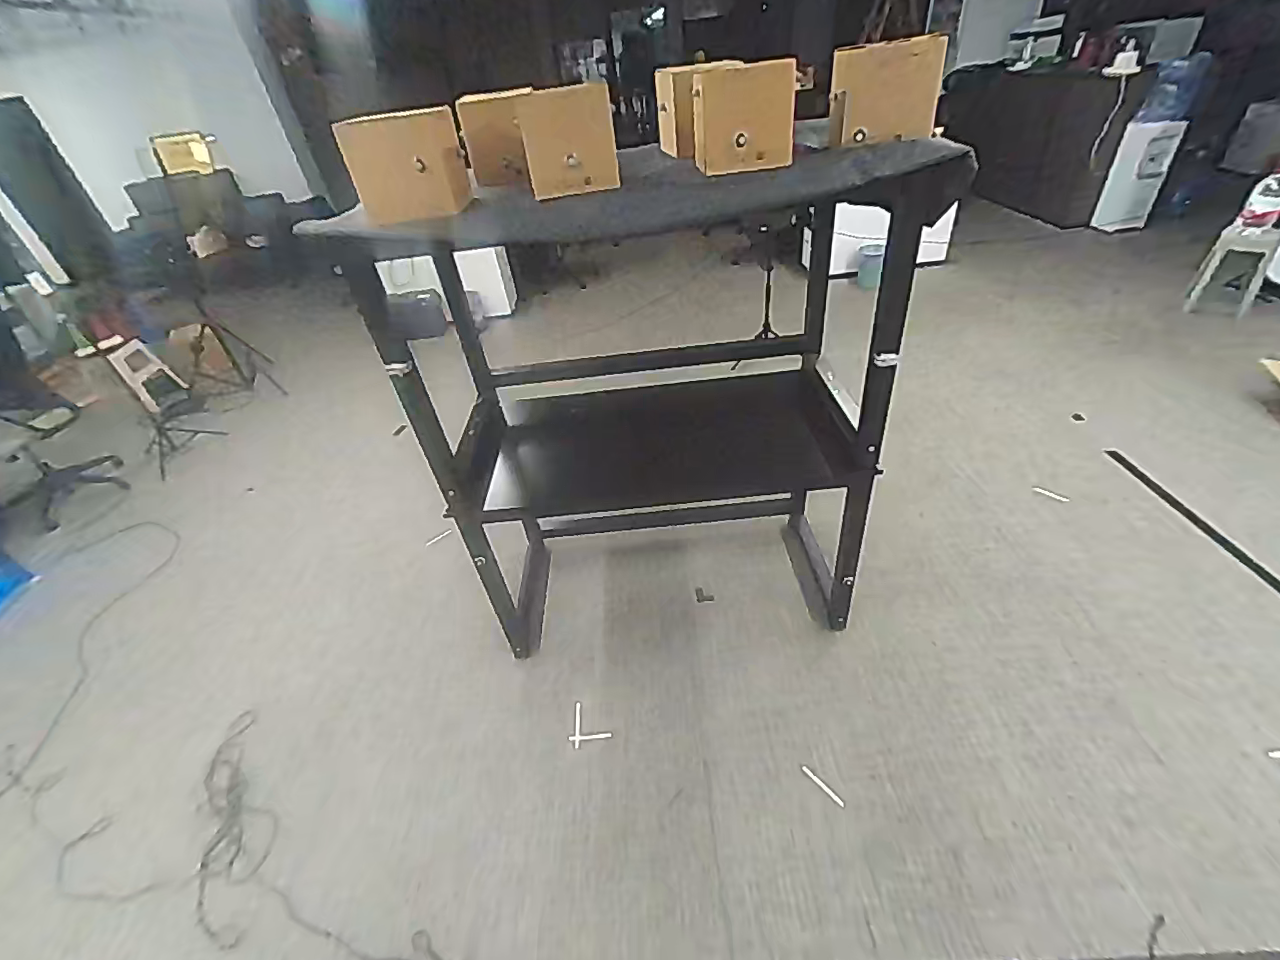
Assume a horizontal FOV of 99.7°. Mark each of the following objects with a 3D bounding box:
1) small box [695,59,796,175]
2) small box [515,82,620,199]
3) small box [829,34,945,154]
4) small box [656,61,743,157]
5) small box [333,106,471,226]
[{"bbox_3d":[0.197,-0.703,1.053,0.168,0.176,0.179,-6,37,3],"label":"small box"},{"bbox_3d":[-0.136,-0.655,1.047,0.168,0.176,0.179,-10,36,-1],"label":"small box"},{"bbox_3d":[0.470,-0.748,1.056,0.168,0.176,0.179,-1,37,10],"label":"small box"},{"bbox_3d":[0.140,-0.882,1.288,0.168,0.176,0.179,-12,38,-5],"label":"small box"},{"bbox_3d":[-0.441,-0.603,1.040,0.179,0.176,0.168,-7,38,1],"label":"small box"}]
